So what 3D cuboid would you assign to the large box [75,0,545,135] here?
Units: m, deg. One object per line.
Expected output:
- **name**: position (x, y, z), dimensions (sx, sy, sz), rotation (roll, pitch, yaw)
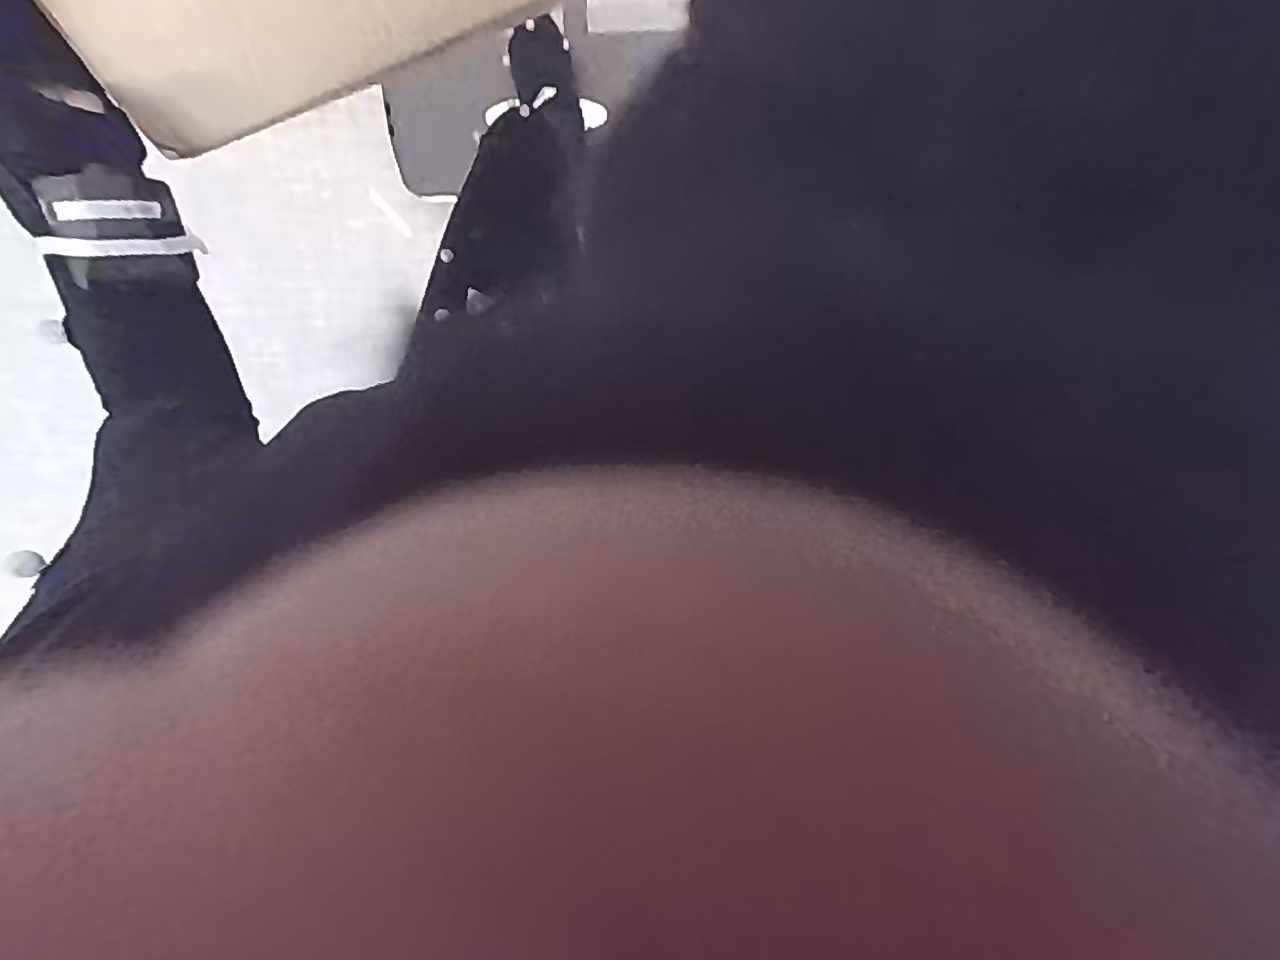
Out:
- **large box**: position (-0.164, -0.476, 0.330), dimensions (0.408, 0.320, 0.320), rotation (-18, 131, 7)
